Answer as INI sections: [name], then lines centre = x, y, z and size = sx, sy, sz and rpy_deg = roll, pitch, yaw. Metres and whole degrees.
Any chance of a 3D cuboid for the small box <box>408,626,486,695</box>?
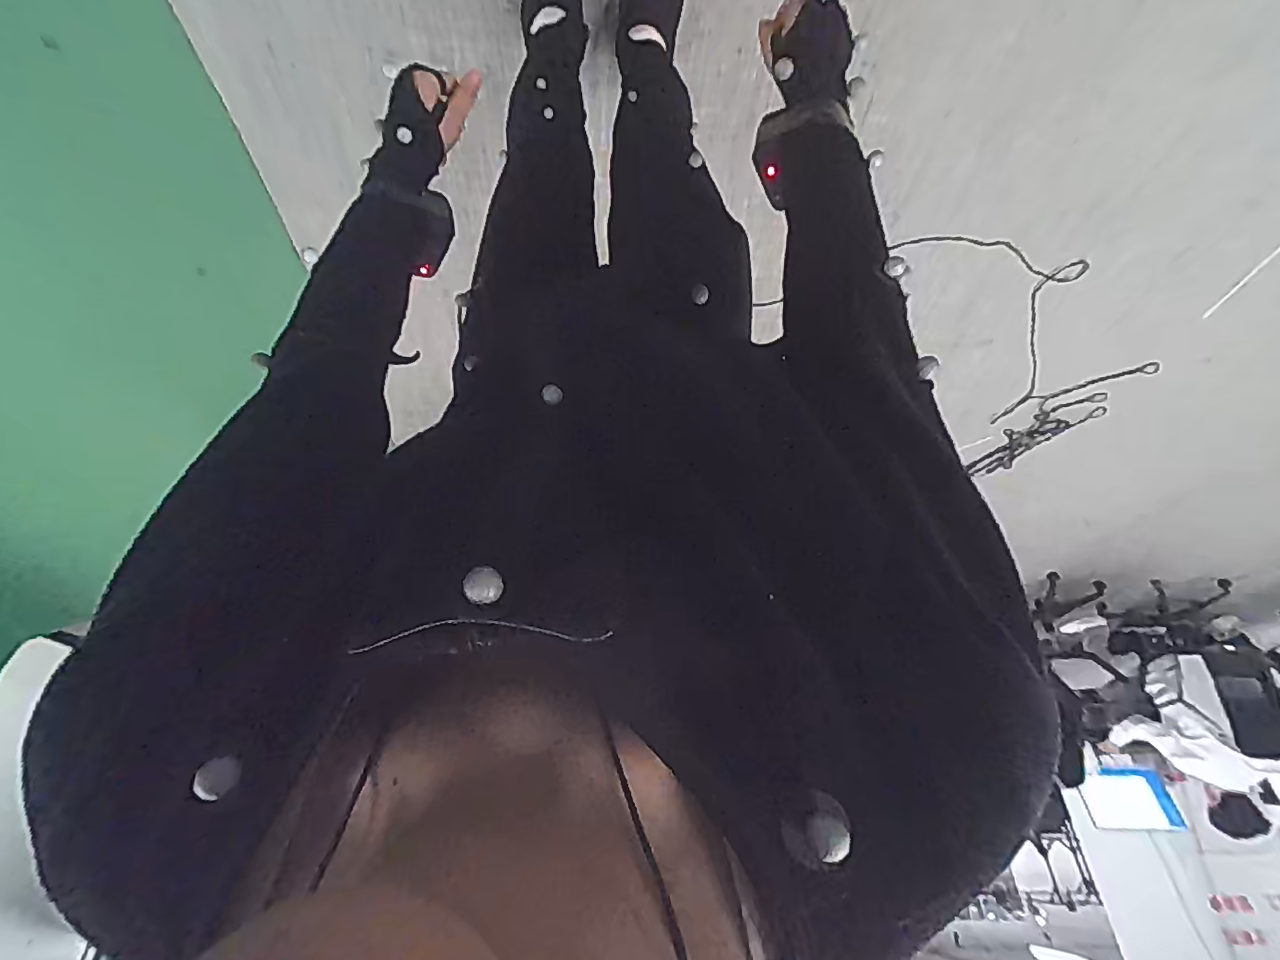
[small box]
centre = -0.591, 0.560, 1.680
size = 0.179, 0.176, 0.168
rpy_deg = 1, 146, -2
